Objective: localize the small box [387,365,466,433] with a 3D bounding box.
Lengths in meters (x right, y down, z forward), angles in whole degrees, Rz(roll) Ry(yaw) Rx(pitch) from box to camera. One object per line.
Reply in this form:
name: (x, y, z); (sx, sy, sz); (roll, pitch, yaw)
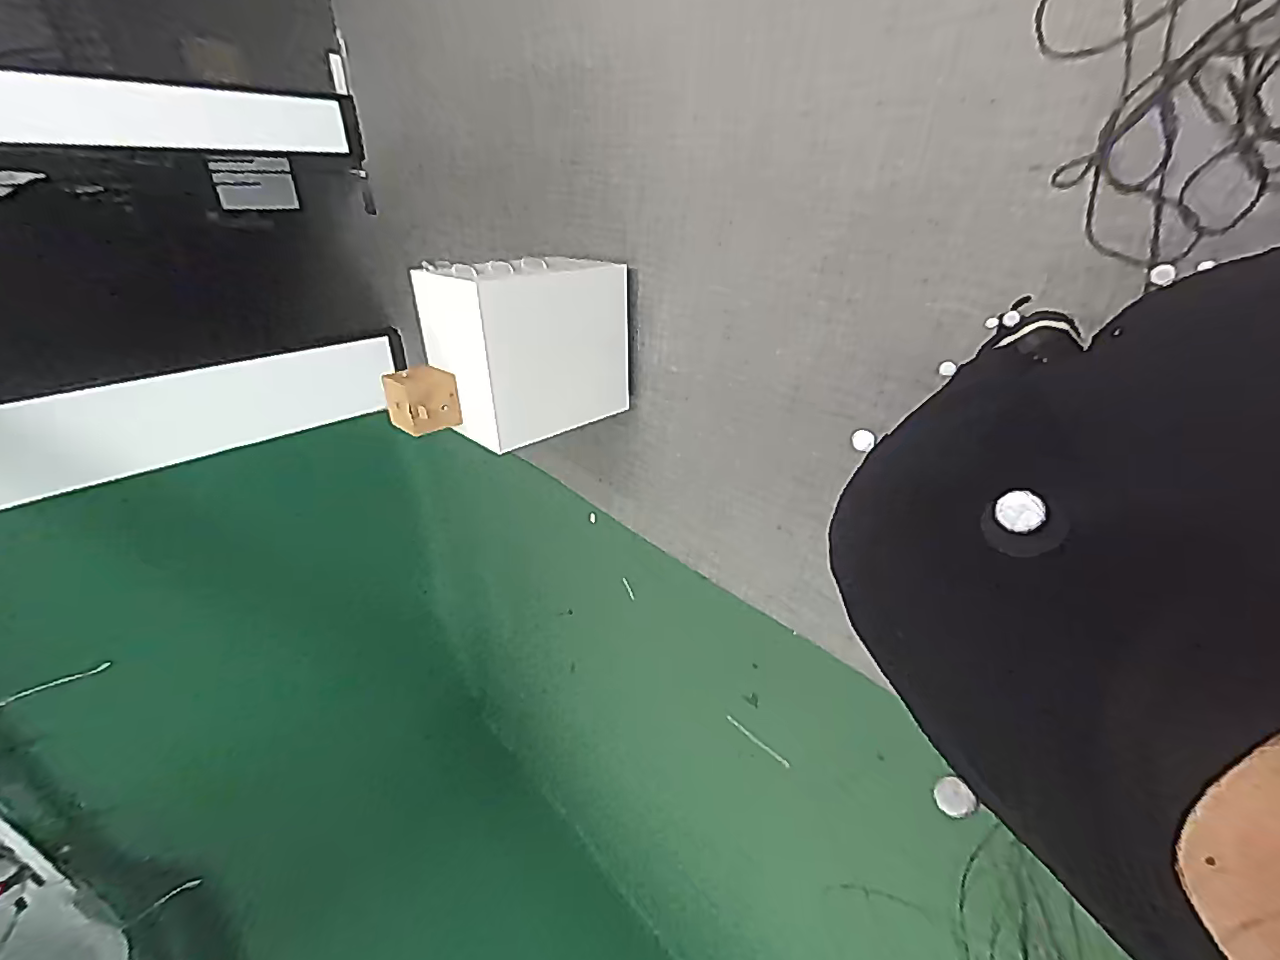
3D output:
small box: (-0.686, -0.268, 1.749); (0.179, 0.176, 0.168); (23, 125, 39)
